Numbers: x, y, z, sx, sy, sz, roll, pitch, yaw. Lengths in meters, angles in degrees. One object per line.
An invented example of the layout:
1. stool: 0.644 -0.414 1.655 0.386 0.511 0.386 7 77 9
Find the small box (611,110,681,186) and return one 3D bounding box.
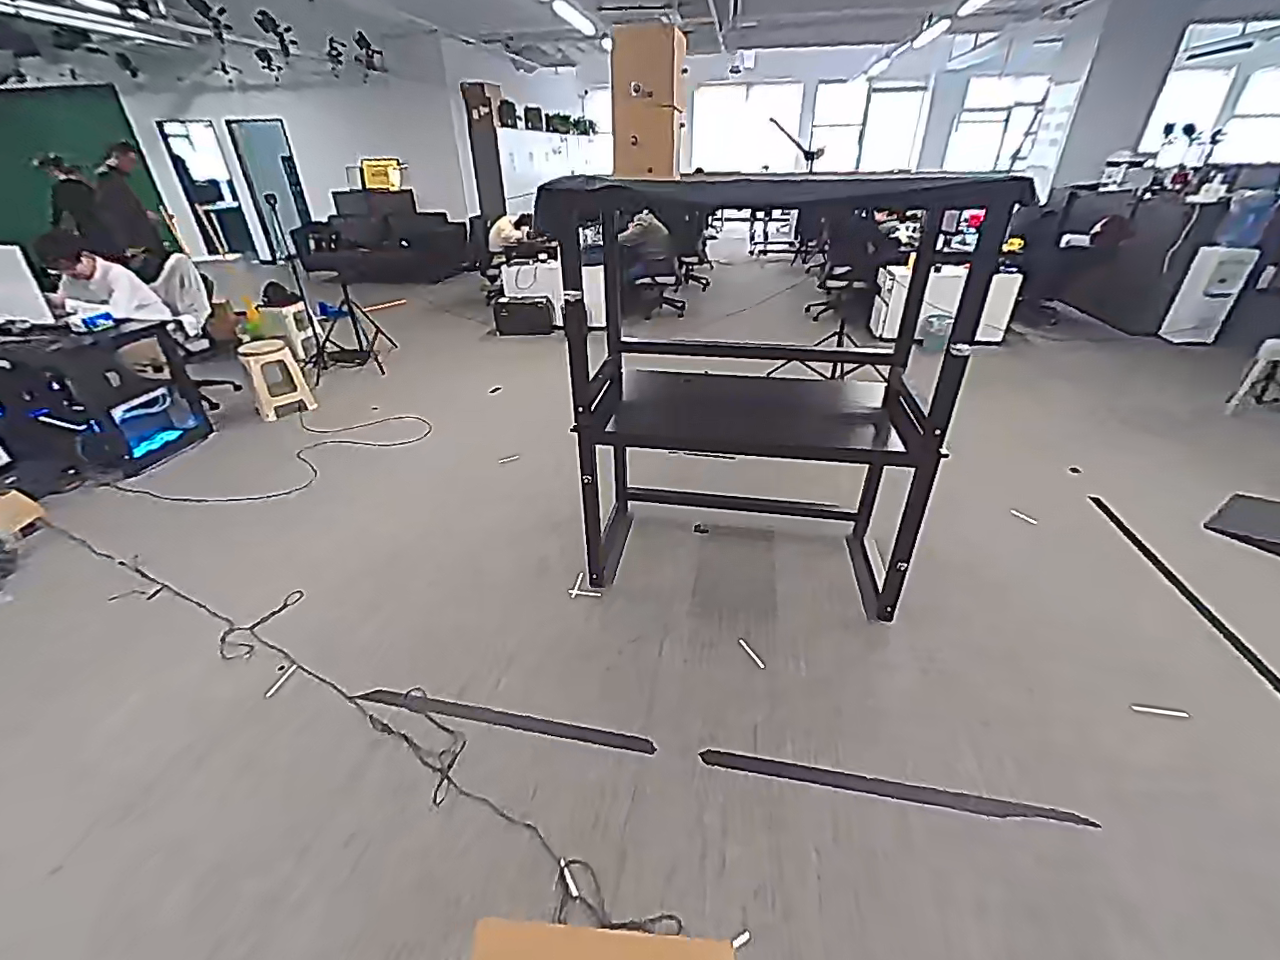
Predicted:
1. small box: 0.021 -0.907 1.485 0.168 0.176 0.179 5 29 8

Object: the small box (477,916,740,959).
1. small box: -0.028 0.399 0.307 0.168 0.176 0.179 5 25 0

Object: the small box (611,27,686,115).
1. small box: 0.025 -1.049 1.406 0.168 0.176 0.179 5 30 11
